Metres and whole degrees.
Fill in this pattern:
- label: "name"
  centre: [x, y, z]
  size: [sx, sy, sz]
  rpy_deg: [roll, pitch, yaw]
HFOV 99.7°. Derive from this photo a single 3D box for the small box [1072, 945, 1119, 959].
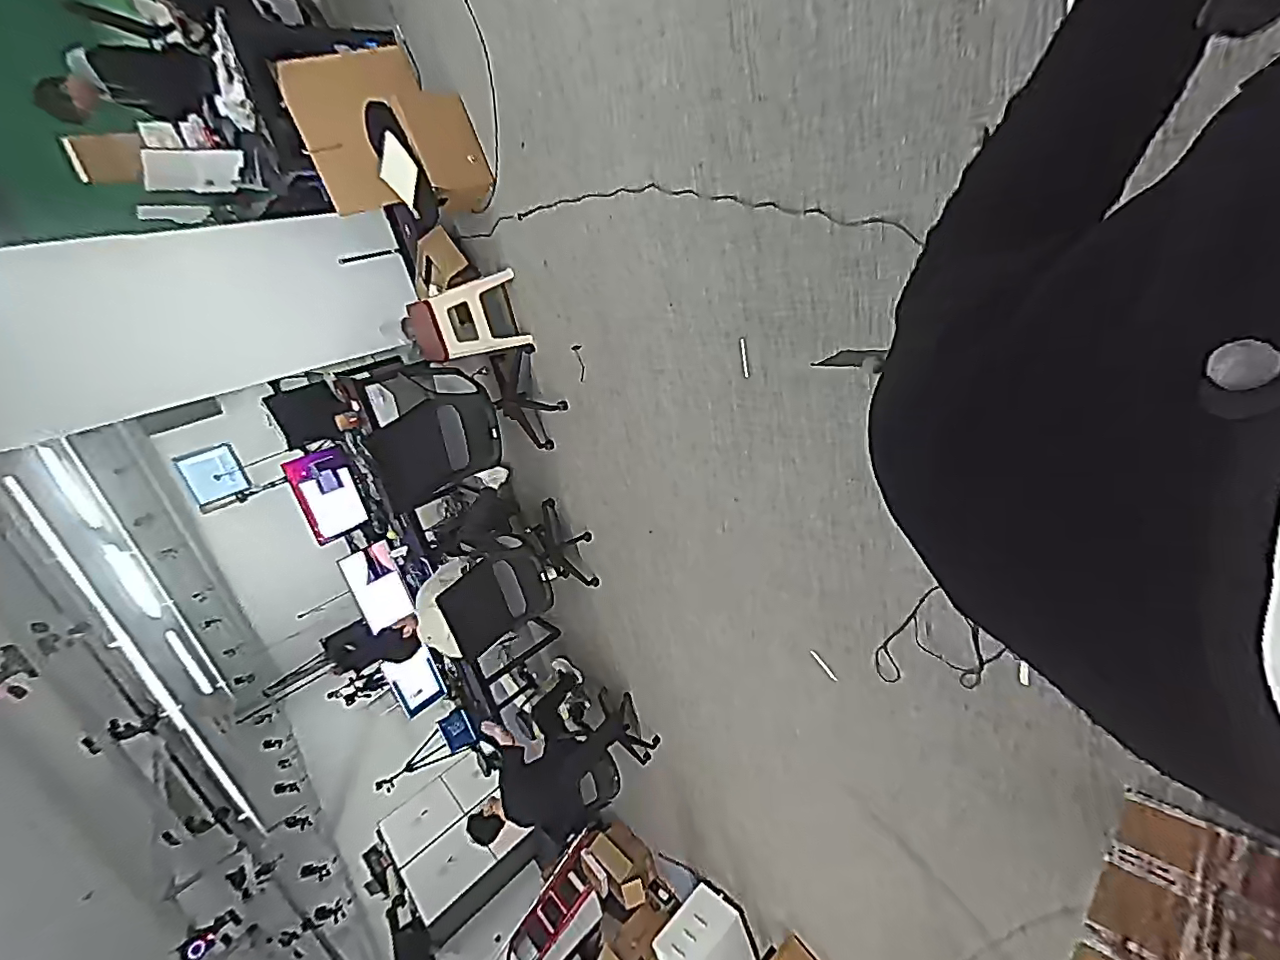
- label: "small box"
  centre: [1.058, 1.196, 1.198]
  size: [0.179, 0.176, 0.168]
  rpy_deg: [4, 113, 52]
